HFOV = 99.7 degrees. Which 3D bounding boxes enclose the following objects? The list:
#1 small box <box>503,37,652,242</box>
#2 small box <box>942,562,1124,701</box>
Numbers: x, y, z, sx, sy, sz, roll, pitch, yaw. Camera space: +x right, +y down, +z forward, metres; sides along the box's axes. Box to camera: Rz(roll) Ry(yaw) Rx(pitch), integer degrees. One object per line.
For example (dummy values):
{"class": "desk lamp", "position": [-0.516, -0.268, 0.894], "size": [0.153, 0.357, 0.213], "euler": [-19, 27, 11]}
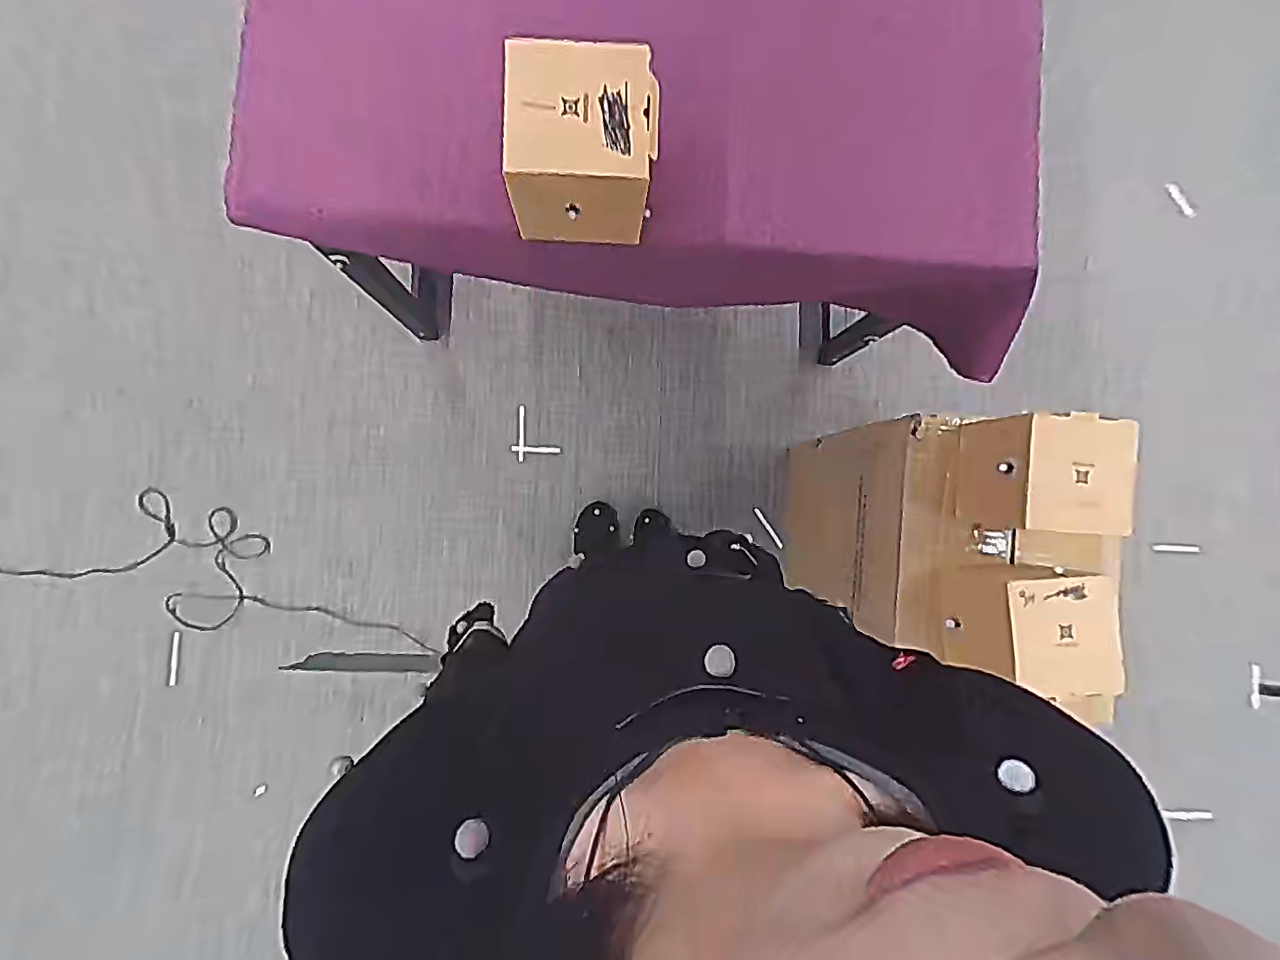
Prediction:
{"class": "small box", "position": [-0.080, -0.439, 0.725], "size": [0.179, 0.176, 0.168], "euler": [1, 87, -4]}
{"class": "small box", "position": [0.610, 0.230, 0.860], "size": [0.168, 0.176, 0.179], "euler": [-3, 88, -3]}
